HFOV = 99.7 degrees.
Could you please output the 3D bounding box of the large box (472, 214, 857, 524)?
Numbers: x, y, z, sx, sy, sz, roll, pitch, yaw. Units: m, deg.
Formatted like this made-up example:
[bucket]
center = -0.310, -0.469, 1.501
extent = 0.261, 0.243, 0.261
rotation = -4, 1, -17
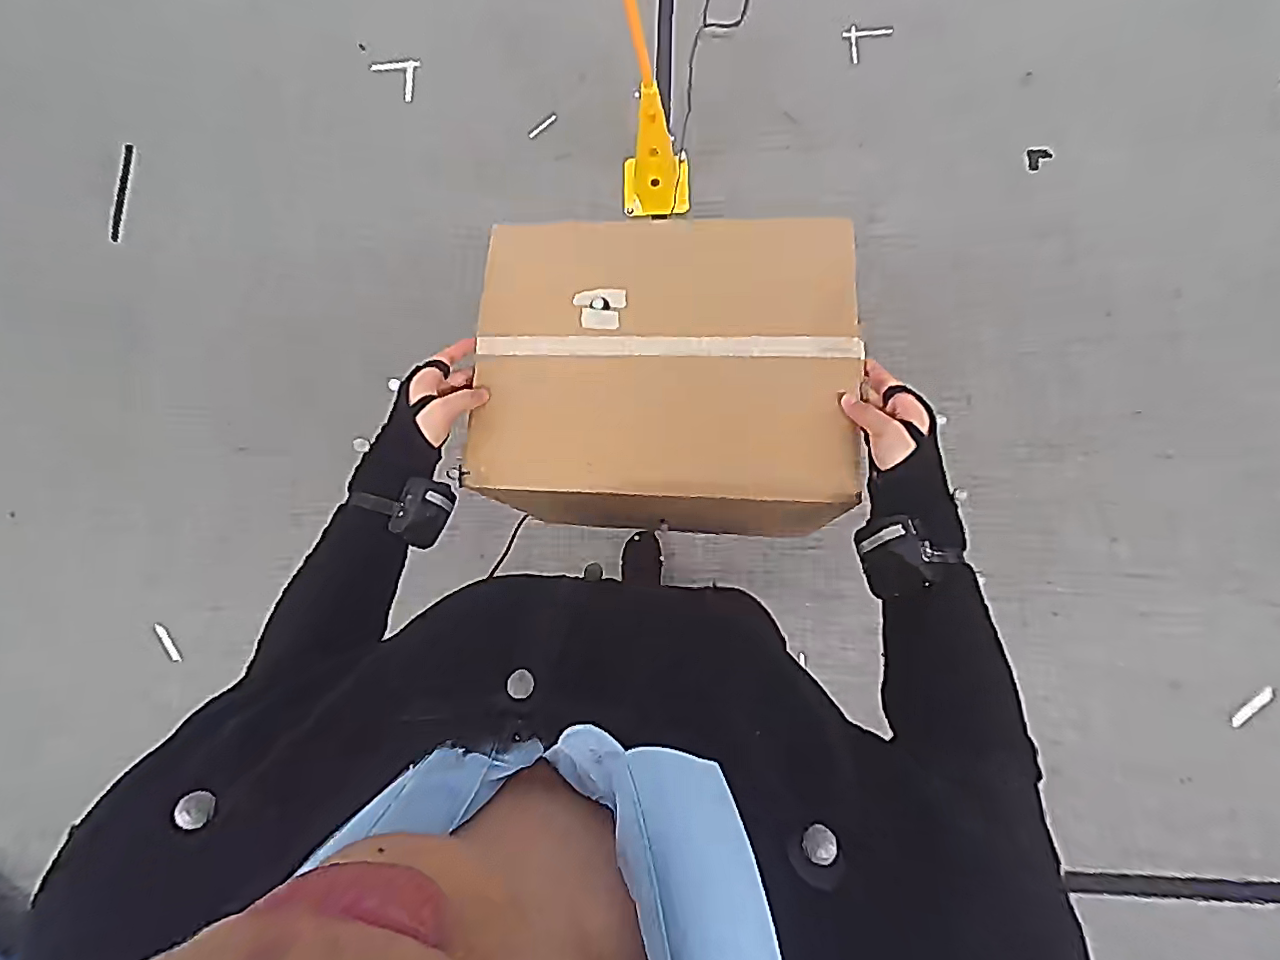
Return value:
[large box]
center = 0.041, -0.112, 0.727
extent = 0.408, 0.320, 0.320
rotation = 1, 77, 7
